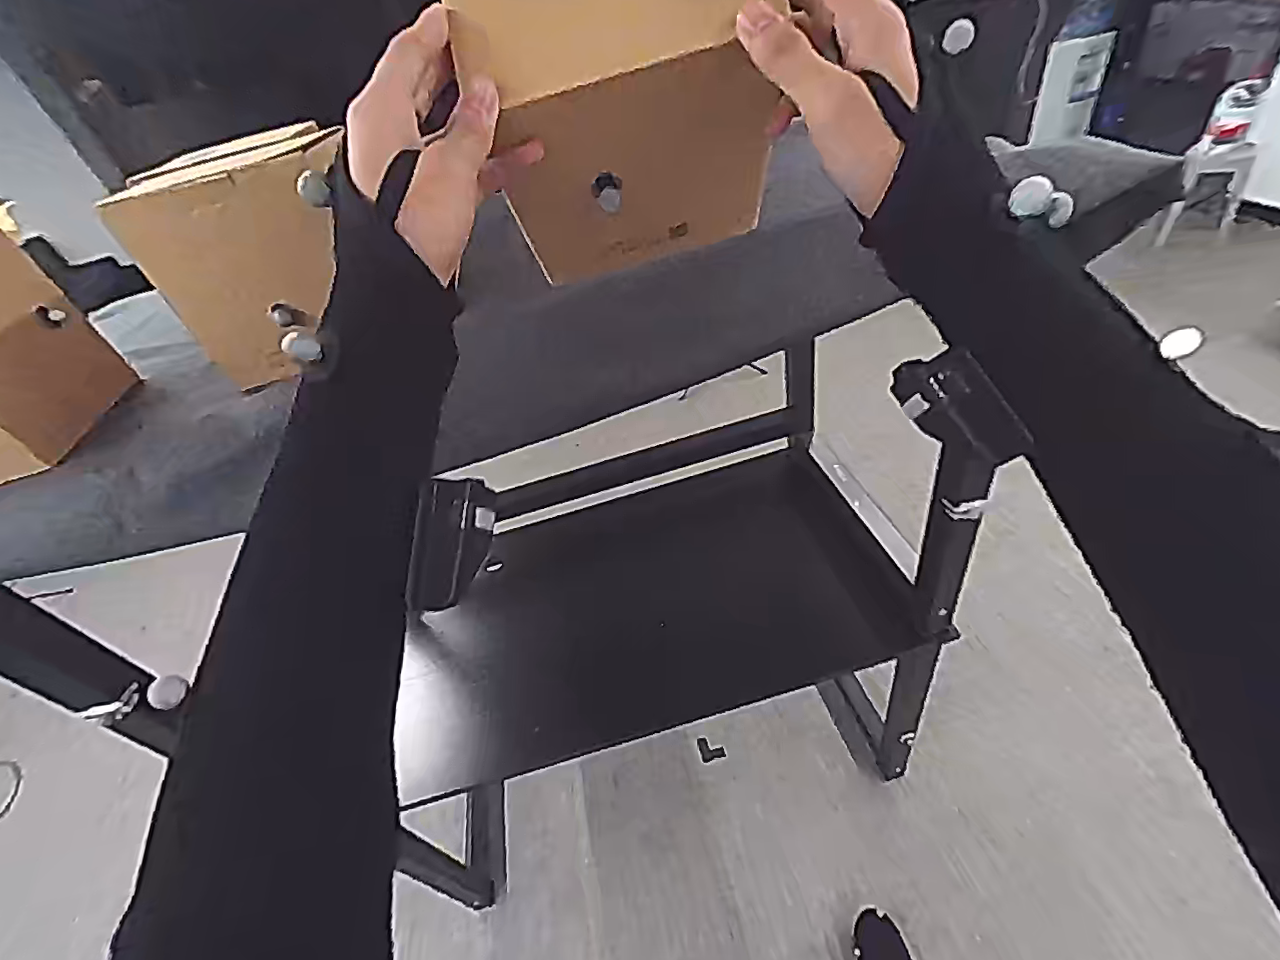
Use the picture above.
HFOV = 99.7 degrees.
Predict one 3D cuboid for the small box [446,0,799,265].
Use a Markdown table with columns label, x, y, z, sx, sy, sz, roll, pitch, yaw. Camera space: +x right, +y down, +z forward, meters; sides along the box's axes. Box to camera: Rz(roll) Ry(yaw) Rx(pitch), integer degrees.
| label | x | y | z | sx | sy | sz | roll | pitch | yaw |
| --- | --- | --- | --- | --- | --- | --- | --- | --- | --- |
| small box | -0.013 | -0.264 | 0.345 | 0.168 | 0.176 | 0.179 | -15 | 78 | 3 |

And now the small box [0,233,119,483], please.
| label | x | y | z | sx | sy | sz | roll | pitch | yaw |
| --- | --- | --- | --- | --- | --- | --- | --- | --- | --- |
| small box | -0.618 | -0.094 | 0.461 | 0.168 | 0.176 | 0.179 | -19 | 40 | -3 |
